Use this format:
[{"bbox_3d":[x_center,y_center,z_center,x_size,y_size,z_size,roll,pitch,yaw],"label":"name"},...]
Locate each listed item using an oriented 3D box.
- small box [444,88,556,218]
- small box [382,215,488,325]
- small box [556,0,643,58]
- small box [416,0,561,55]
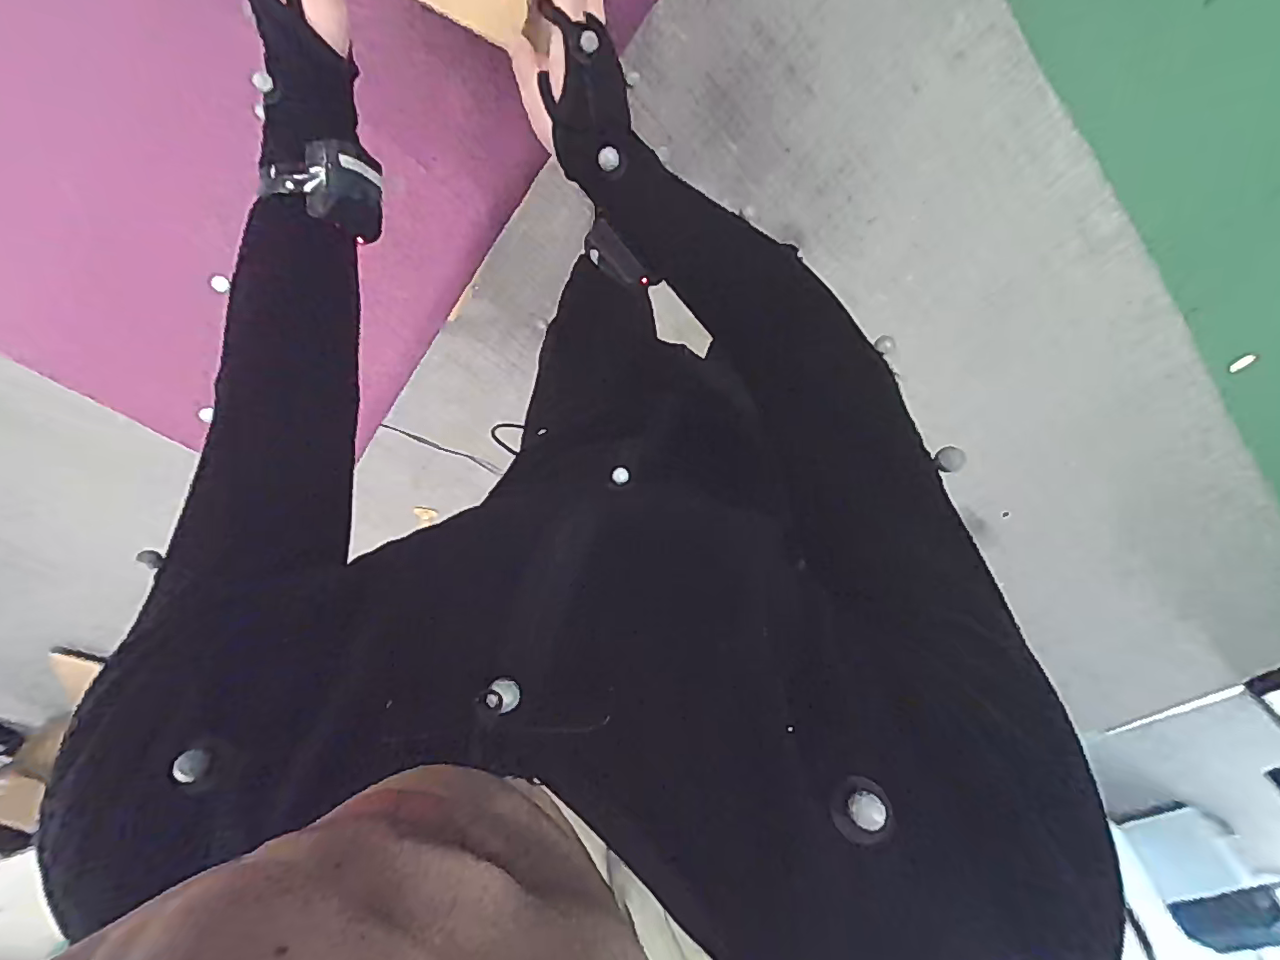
[{"bbox_3d":[-0.295,-0.713,1.173,0.168,0.176,0.179,29,124,-18],"label":"small box"},{"bbox_3d":[-0.495,-0.520,1.327,0.179,0.176,0.168,27,124,-18],"label":"small box"},{"bbox_3d":[-0.085,-0.927,1.001,0.168,0.176,0.179,35,120,-23],"label":"small box"},{"bbox_3d":[-0.140,-0.478,0.430,0.179,0.176,0.168,22,126,-13],"label":"small box"}]
